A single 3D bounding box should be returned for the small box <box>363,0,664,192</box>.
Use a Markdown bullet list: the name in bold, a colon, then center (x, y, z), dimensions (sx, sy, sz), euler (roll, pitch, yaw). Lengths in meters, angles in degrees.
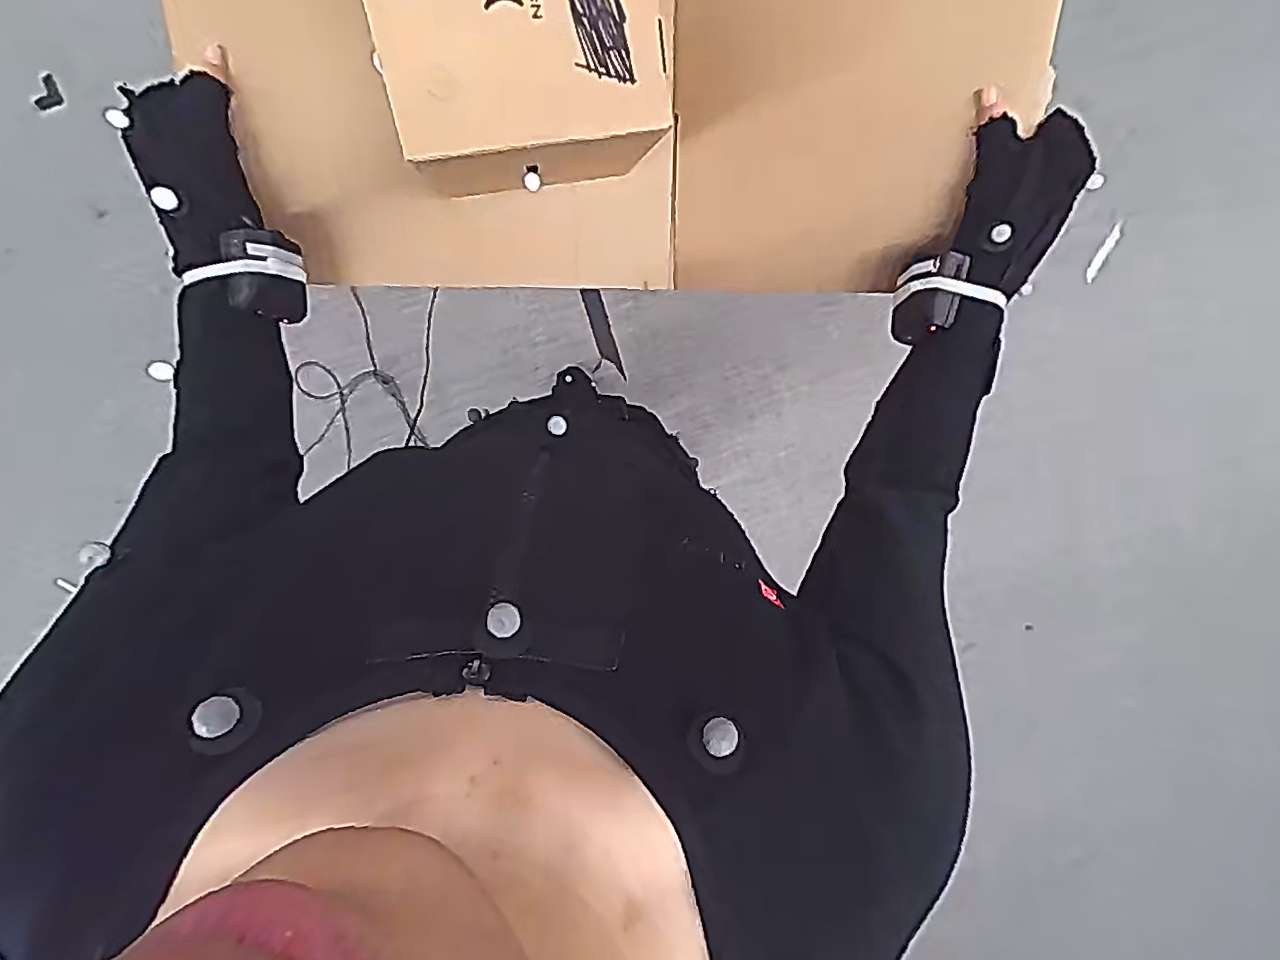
- **small box**: center (-0.094, -0.324, 0.399), dimensions (0.179, 0.176, 0.168), euler (-12, 112, -7)
